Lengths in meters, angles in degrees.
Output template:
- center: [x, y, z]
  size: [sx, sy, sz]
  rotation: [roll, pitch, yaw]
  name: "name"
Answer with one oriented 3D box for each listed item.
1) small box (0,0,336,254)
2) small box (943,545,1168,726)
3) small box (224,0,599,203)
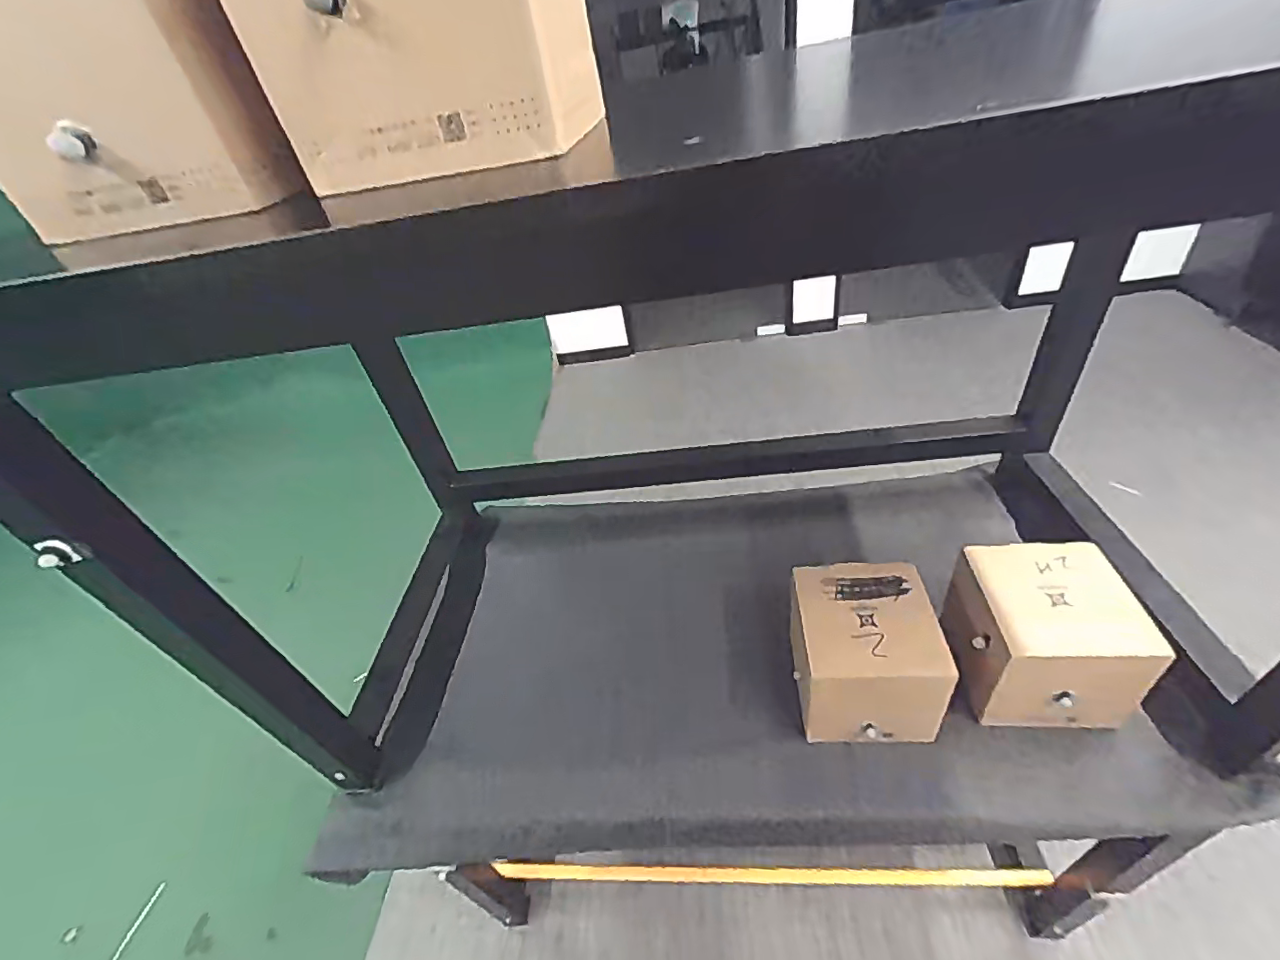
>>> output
- center: [-0.325, -0.273, 0.373]
  size: [0.168, 0.176, 0.179]
  rotation: [-4, 40, 9]
  name: "small box"
- center: [0.531, 0.209, 0.725]
  size: [0.168, 0.176, 0.179]
  rotation: [-3, 39, 11]
  name: "small box"
- center: [-0.130, -0.292, 0.349]
  size: [0.168, 0.176, 0.179]
  rotation: [-4, 39, 10]
  name: "small box"
